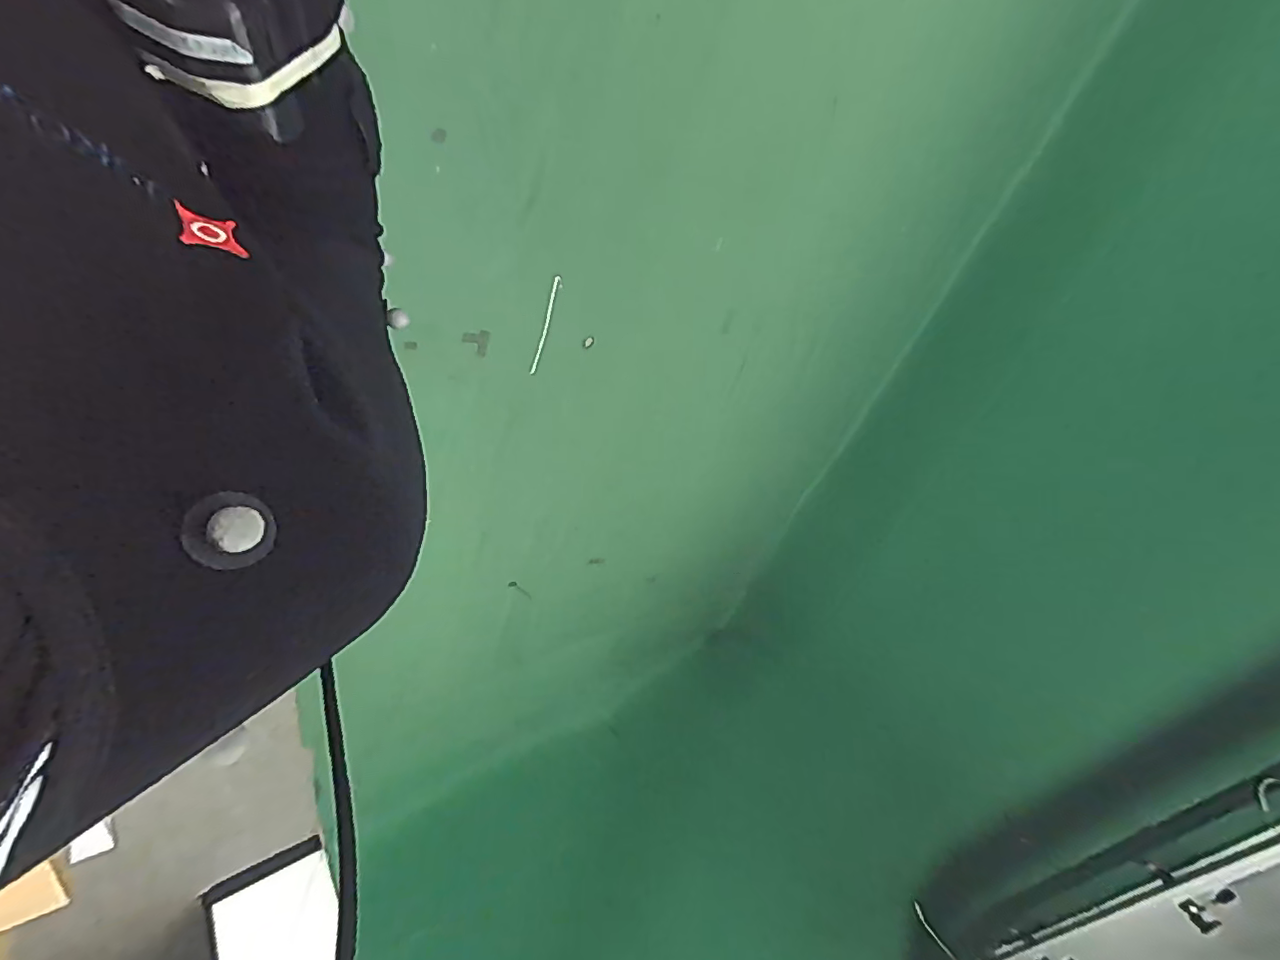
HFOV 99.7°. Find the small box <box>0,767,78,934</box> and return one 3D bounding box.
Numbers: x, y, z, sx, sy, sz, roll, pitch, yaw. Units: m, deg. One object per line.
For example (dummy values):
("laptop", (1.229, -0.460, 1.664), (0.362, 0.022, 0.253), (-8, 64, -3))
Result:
("small box", (-0.979, 0.567, 0.813), (0.168, 0.176, 0.179), (-6, 134, -40))
